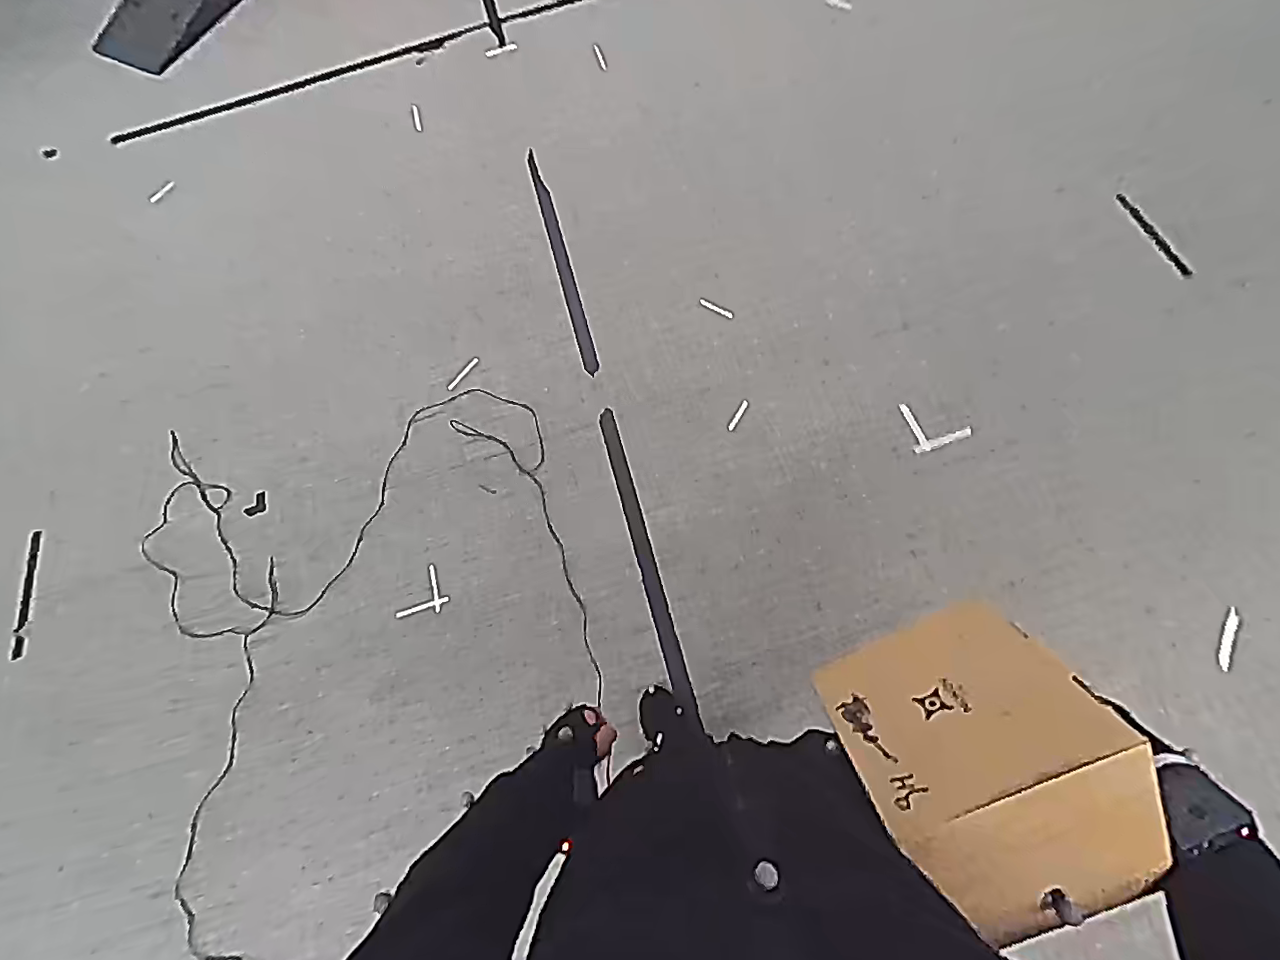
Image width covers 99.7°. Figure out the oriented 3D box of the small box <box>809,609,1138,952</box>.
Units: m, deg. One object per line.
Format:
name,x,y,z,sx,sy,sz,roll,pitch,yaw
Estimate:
small box,0.282,0.254,0.473,0.179,0.168,0.176,-27,110,6
